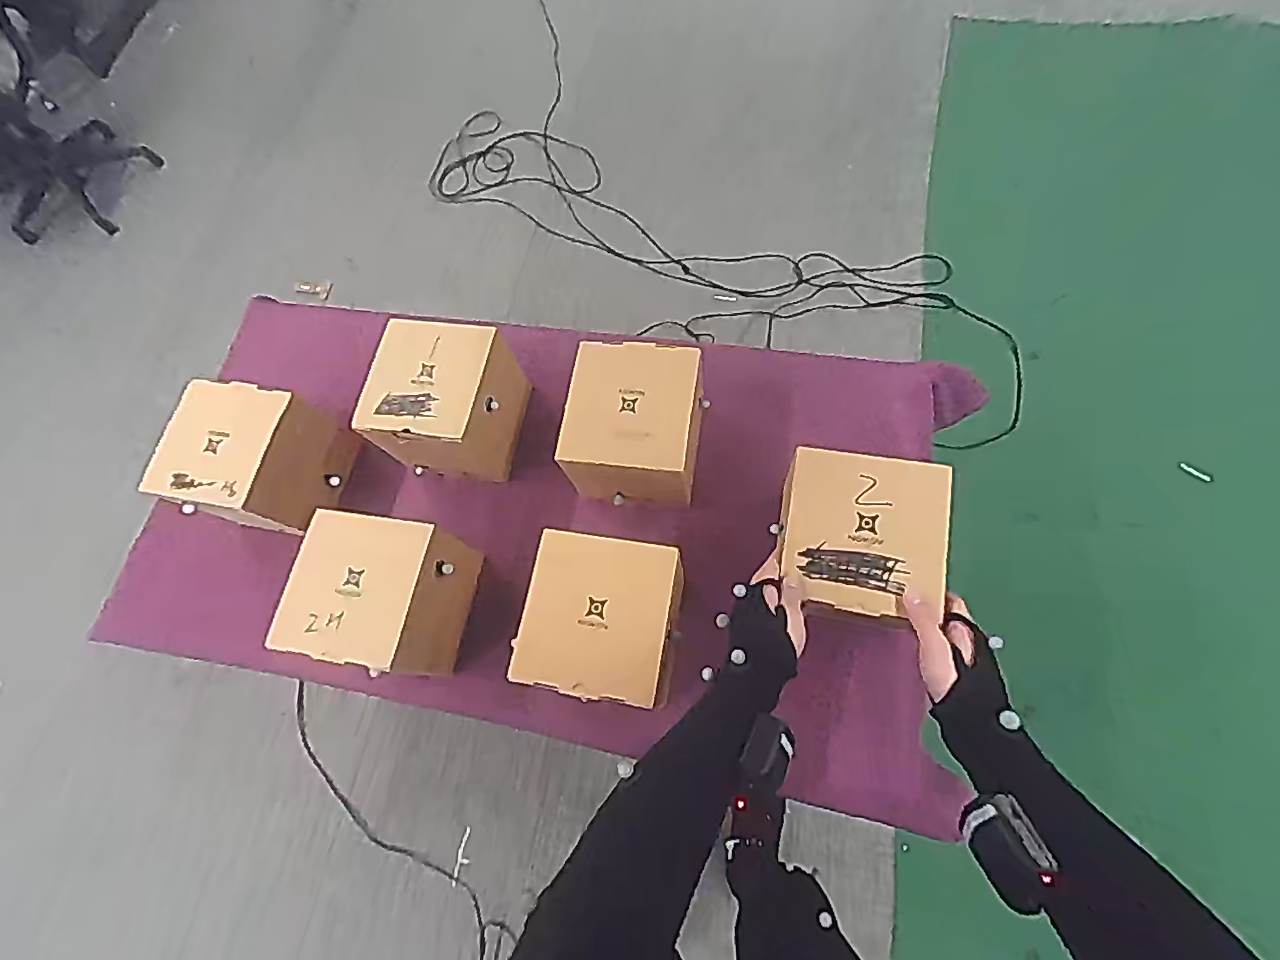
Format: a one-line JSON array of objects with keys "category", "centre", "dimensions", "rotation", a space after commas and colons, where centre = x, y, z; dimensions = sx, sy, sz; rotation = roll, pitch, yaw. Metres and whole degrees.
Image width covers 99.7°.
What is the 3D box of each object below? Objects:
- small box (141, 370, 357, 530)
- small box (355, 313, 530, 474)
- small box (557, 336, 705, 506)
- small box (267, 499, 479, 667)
[{"category": "small box", "centre": [-0.563, -0.039, 0.810], "dimensions": [0.168, 0.176, 0.179], "rotation": [9, 72, 11]}, {"category": "small box", "centre": [-0.279, -0.122, 0.810], "dimensions": [0.168, 0.176, 0.179], "rotation": [8, 71, 9]}, {"category": "small box", "centre": [-0.001, -0.077, 0.764], "dimensions": [0.168, 0.176, 0.179], "rotation": [7, 73, 10]}, {"category": "small box", "centre": [-0.334, 0.143, 0.721], "dimensions": [0.168, 0.176, 0.179], "rotation": [8, 71, 10]}]
